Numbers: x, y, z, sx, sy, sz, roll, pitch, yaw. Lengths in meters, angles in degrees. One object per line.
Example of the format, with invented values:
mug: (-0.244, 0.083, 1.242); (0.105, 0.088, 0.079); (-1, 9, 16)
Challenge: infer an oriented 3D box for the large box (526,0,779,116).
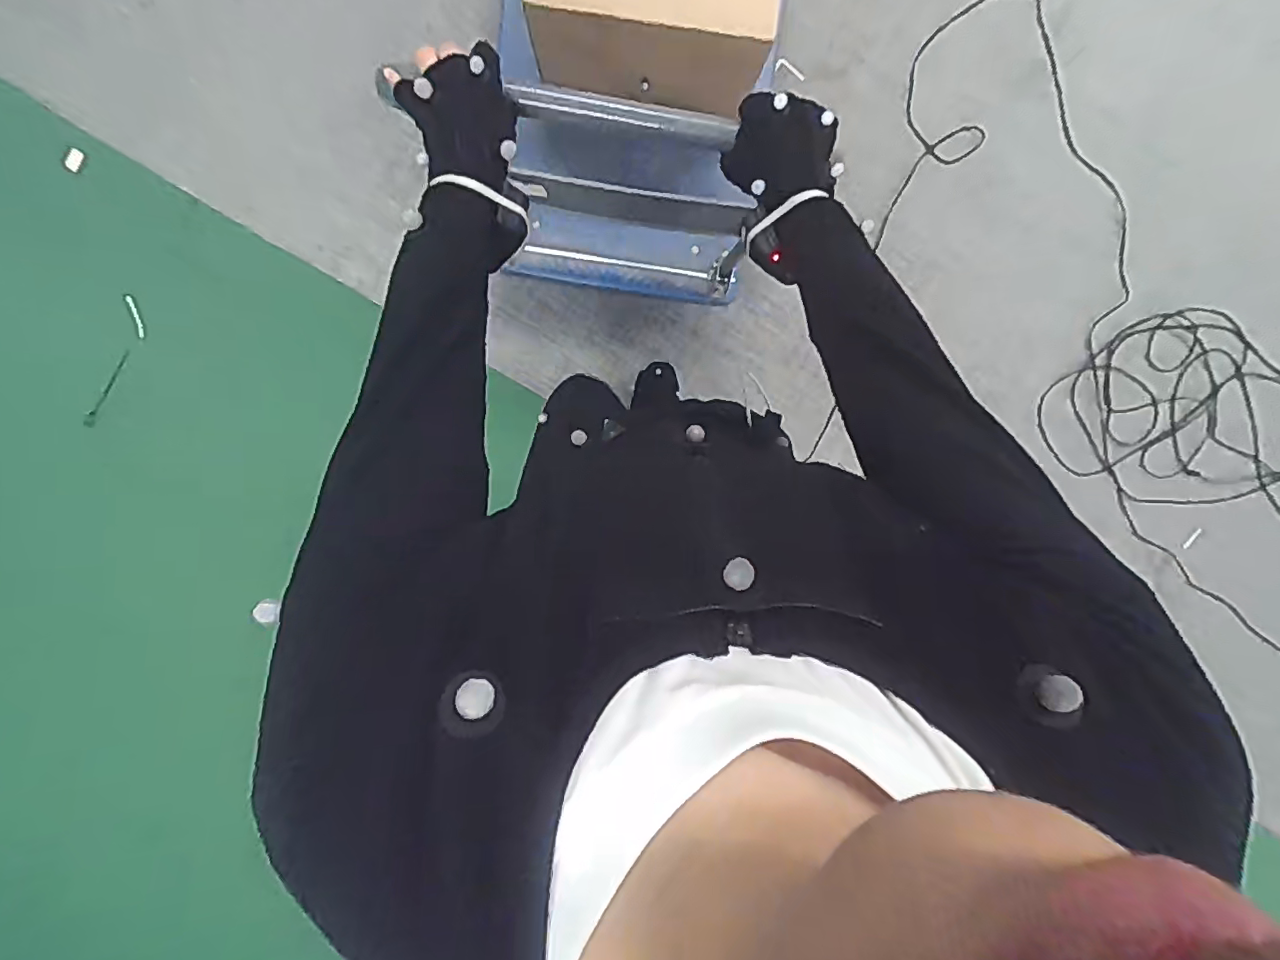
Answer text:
large box: (0.031, -0.908, 0.971); (0.408, 0.320, 0.320); (6, 101, -3)
